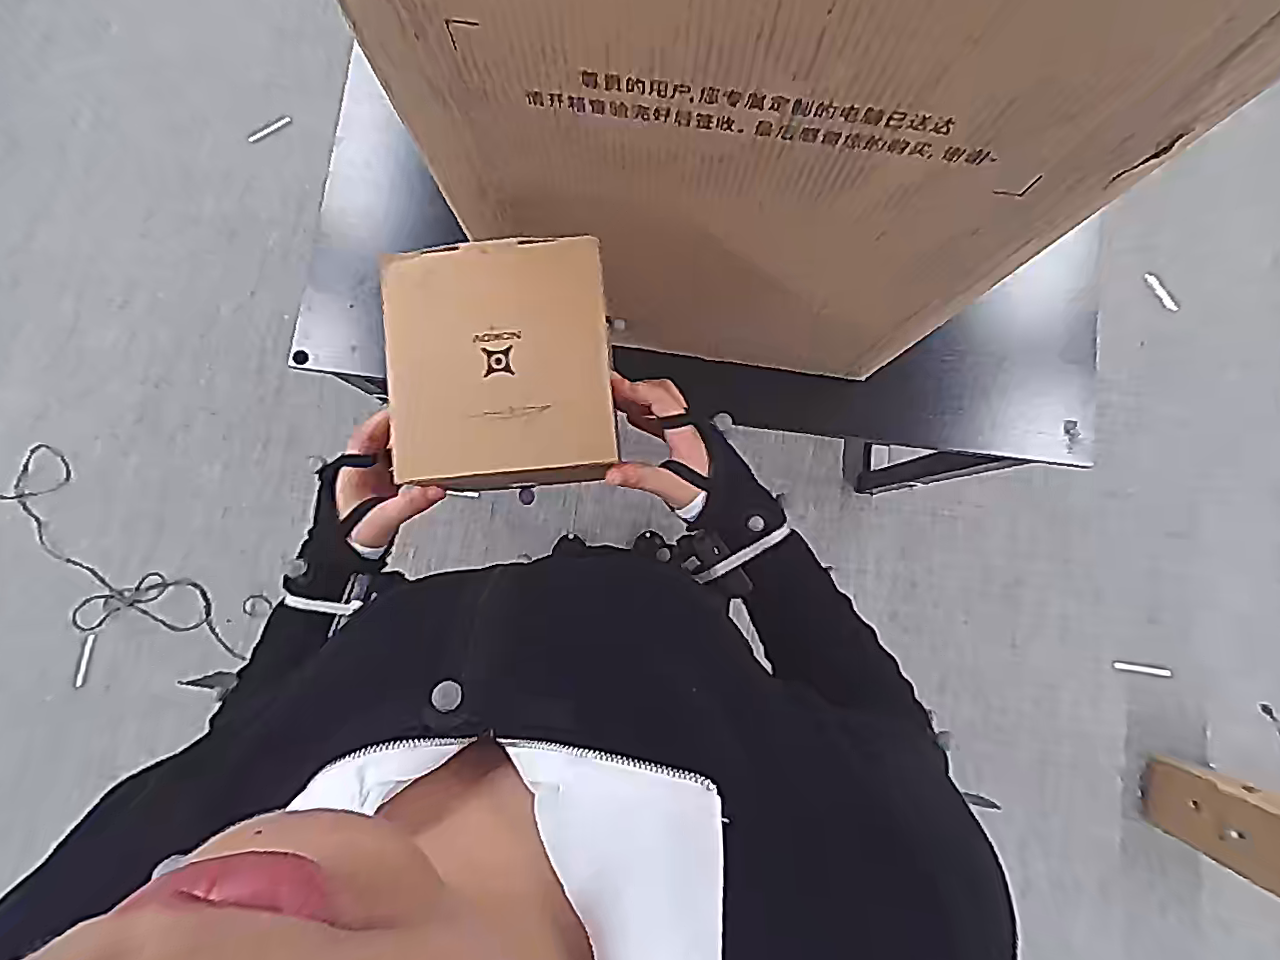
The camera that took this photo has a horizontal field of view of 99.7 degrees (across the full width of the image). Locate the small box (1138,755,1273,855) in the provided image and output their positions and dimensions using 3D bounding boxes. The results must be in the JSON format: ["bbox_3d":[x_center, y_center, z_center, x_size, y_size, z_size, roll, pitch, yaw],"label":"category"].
[{"bbox_3d":[1.421,0.828,1.369,0.168,0.176,0.179,12,85,1],"label":"small box"}]

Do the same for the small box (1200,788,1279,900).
[{"bbox_3d":[1.426,0.819,1.204,0.179,0.176,0.168,11,84,1],"label":"small box"}]
